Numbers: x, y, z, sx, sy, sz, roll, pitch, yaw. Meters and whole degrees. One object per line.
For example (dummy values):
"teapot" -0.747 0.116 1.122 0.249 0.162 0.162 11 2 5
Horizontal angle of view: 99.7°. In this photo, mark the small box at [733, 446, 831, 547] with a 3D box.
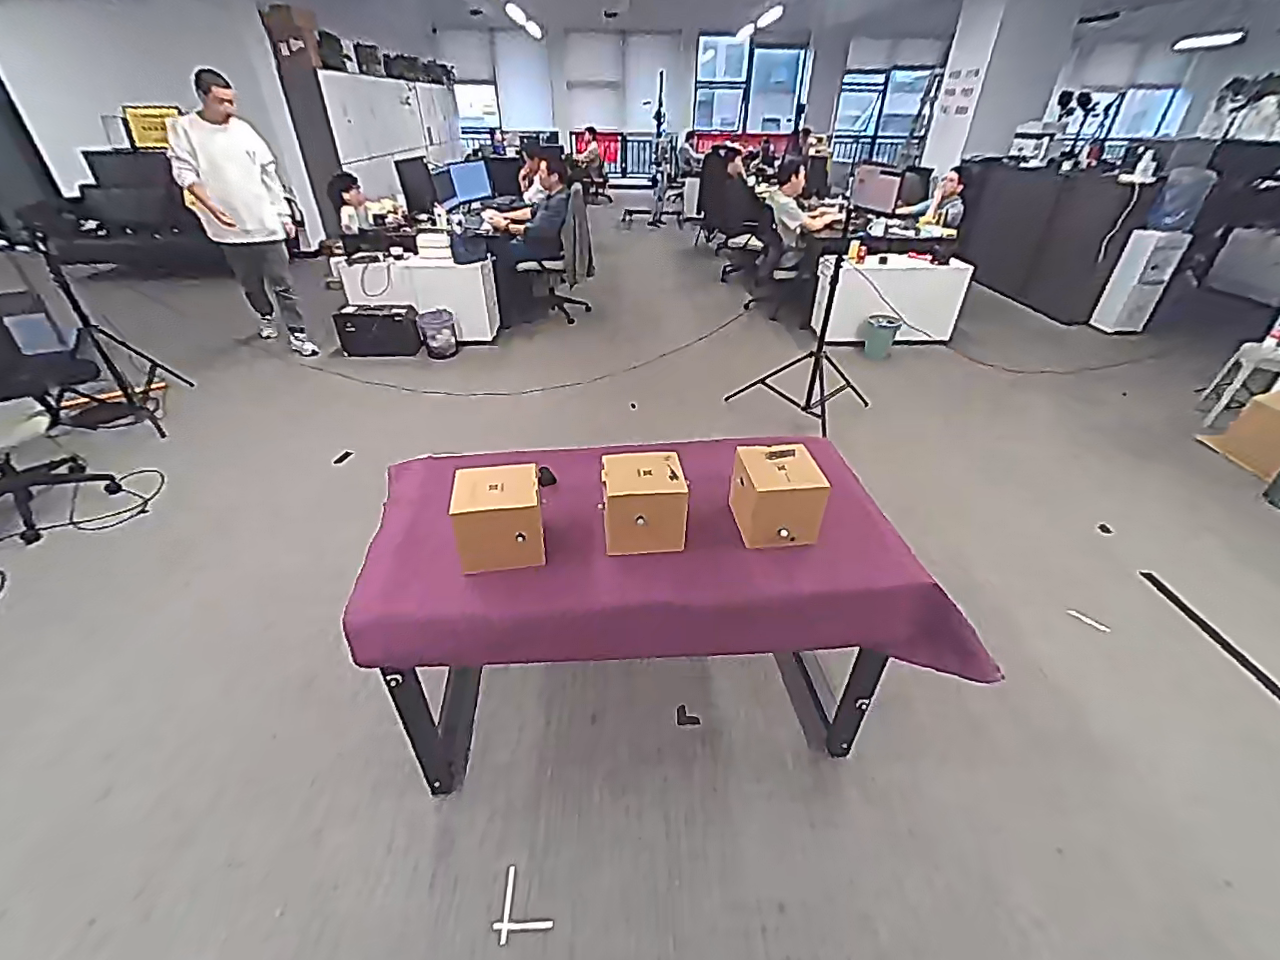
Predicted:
"small box" 0.321 0.037 1.264 0.168 0.176 0.179 -4 35 -5

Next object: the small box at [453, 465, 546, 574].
"small box" -0.300 0.086 1.190 0.179 0.176 0.168 -6 34 -9

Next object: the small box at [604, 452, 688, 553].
"small box" 0.012 0.053 1.239 0.179 0.176 0.168 -4 34 -5
